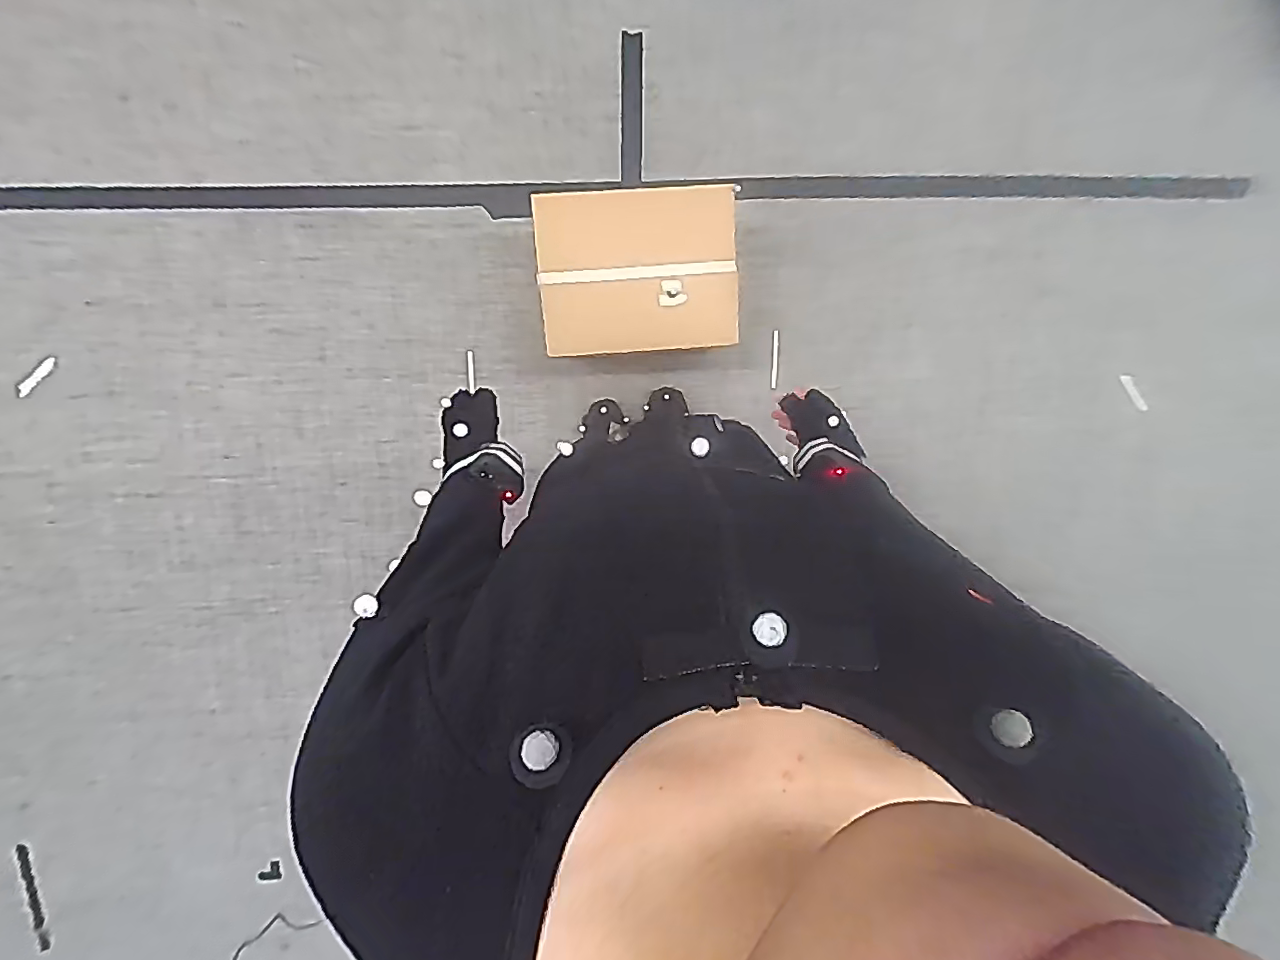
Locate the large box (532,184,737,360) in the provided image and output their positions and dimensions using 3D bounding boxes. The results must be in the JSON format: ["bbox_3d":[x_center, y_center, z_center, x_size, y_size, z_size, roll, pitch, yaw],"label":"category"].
[{"bbox_3d":[-0.016,-0.453,1.244,0.408,0.320,0.320,-5,103,-3],"label":"large box"}]
